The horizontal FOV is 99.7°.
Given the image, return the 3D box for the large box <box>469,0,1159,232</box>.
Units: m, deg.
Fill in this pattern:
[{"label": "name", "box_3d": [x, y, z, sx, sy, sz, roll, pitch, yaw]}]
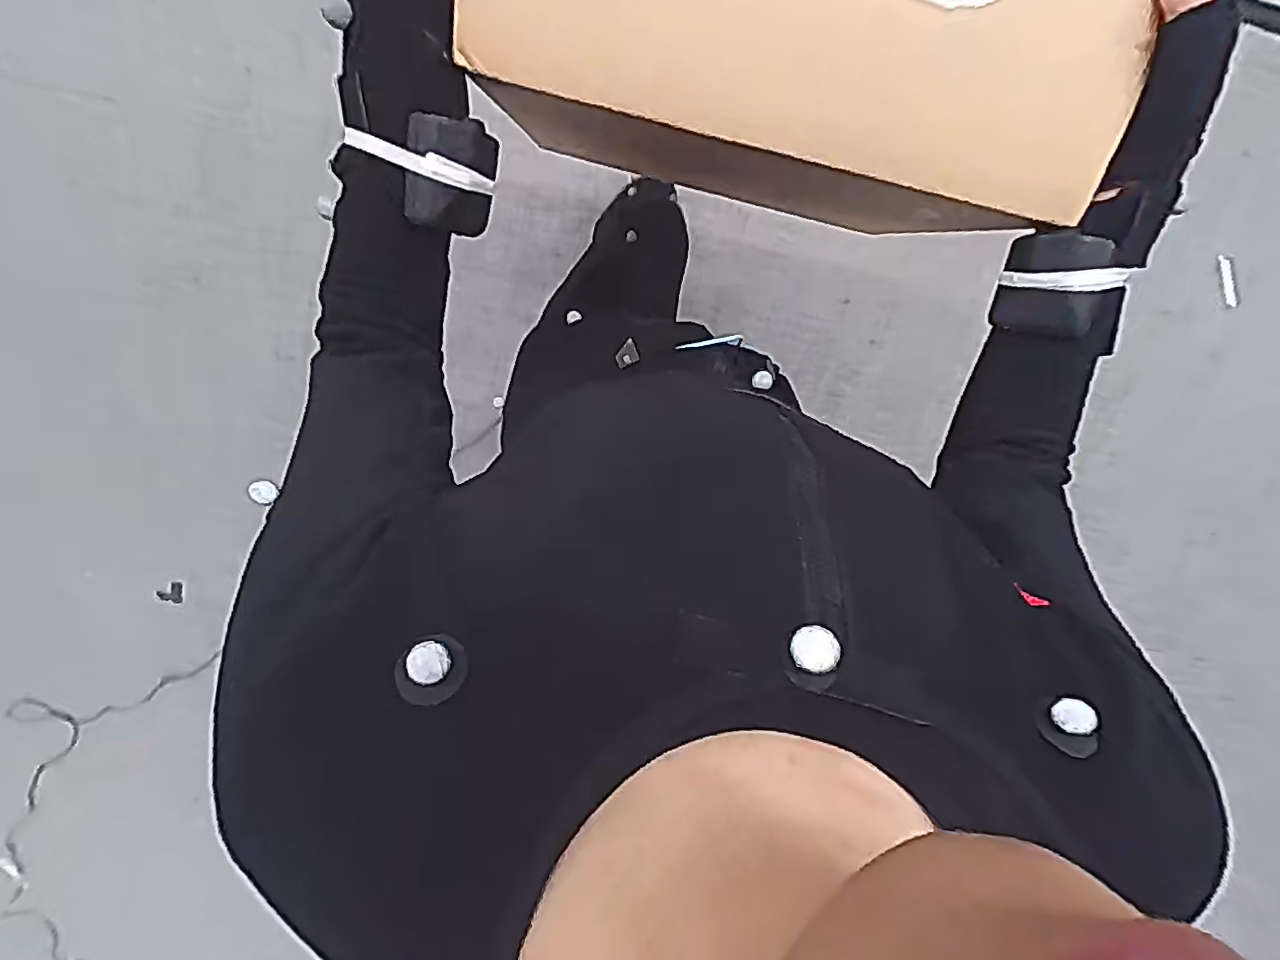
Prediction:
[{"label": "large box", "box_3d": [0.113, -0.404, 0.425, 0.408, 0.320, 0.320, 11, 114, -6]}]
